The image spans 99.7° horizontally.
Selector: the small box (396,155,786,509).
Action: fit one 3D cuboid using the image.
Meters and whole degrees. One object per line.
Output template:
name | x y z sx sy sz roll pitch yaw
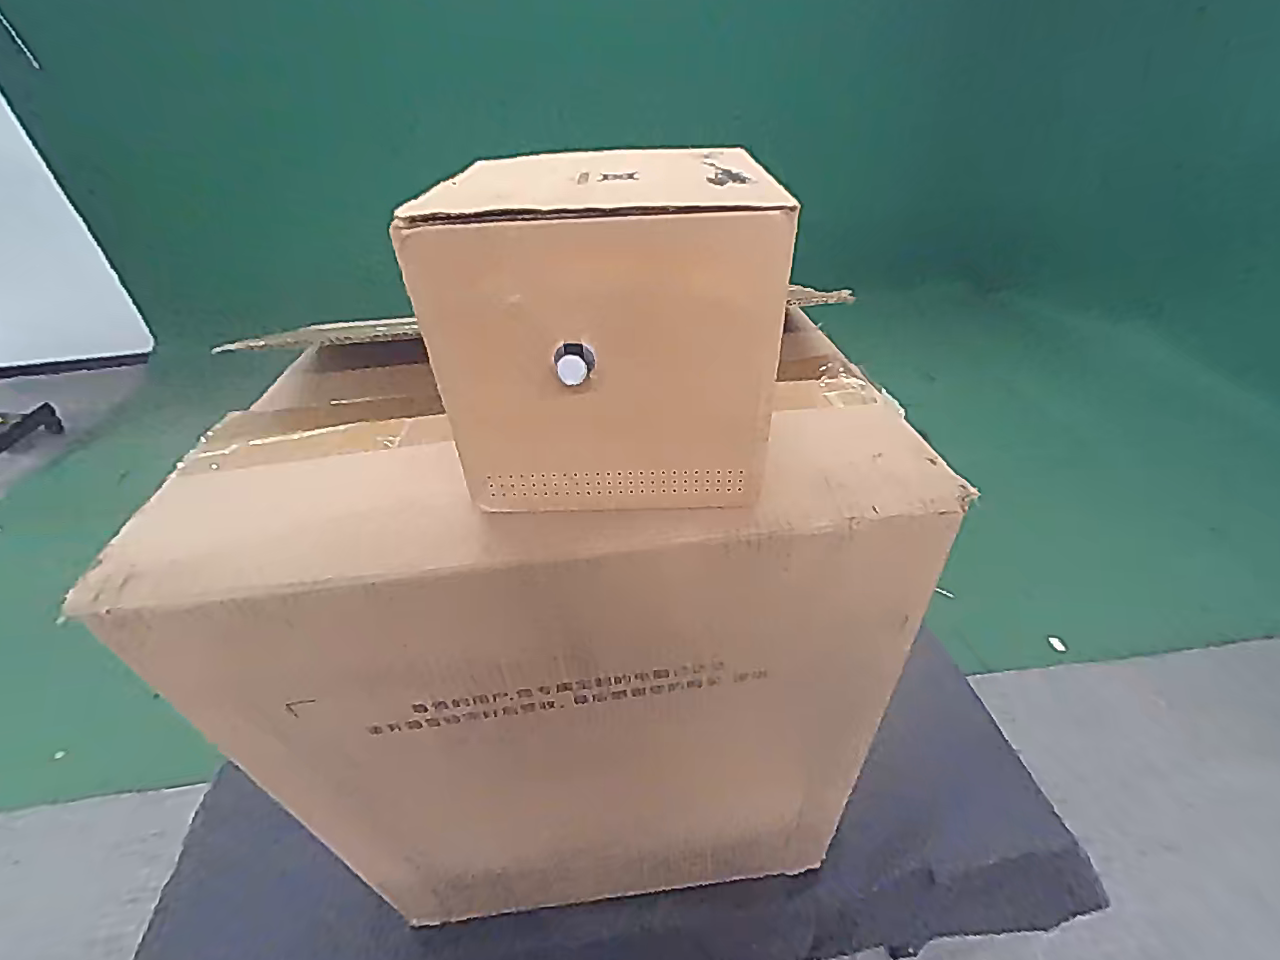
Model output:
small box | -0.017 -0.094 0.344 0.179 0.176 0.168 -2 39 2
